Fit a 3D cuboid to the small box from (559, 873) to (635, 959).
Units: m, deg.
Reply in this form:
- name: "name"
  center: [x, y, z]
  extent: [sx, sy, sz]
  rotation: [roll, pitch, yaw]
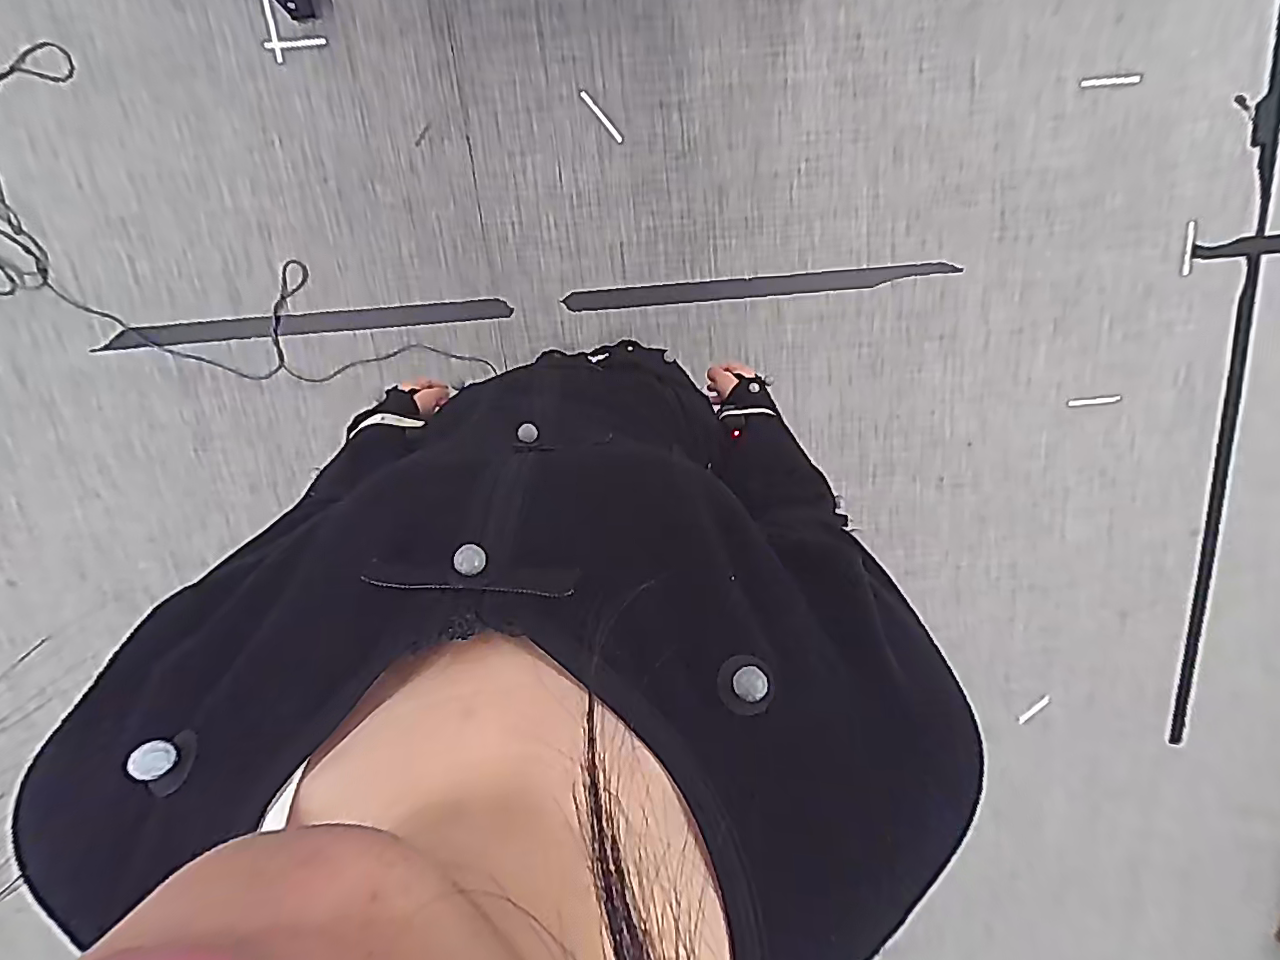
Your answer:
- name: "small box"
  center: [-0.107, 1.153, 1.388]
  extent: [0.179, 0.176, 0.168]
  rotation: [-7, 102, -2]
